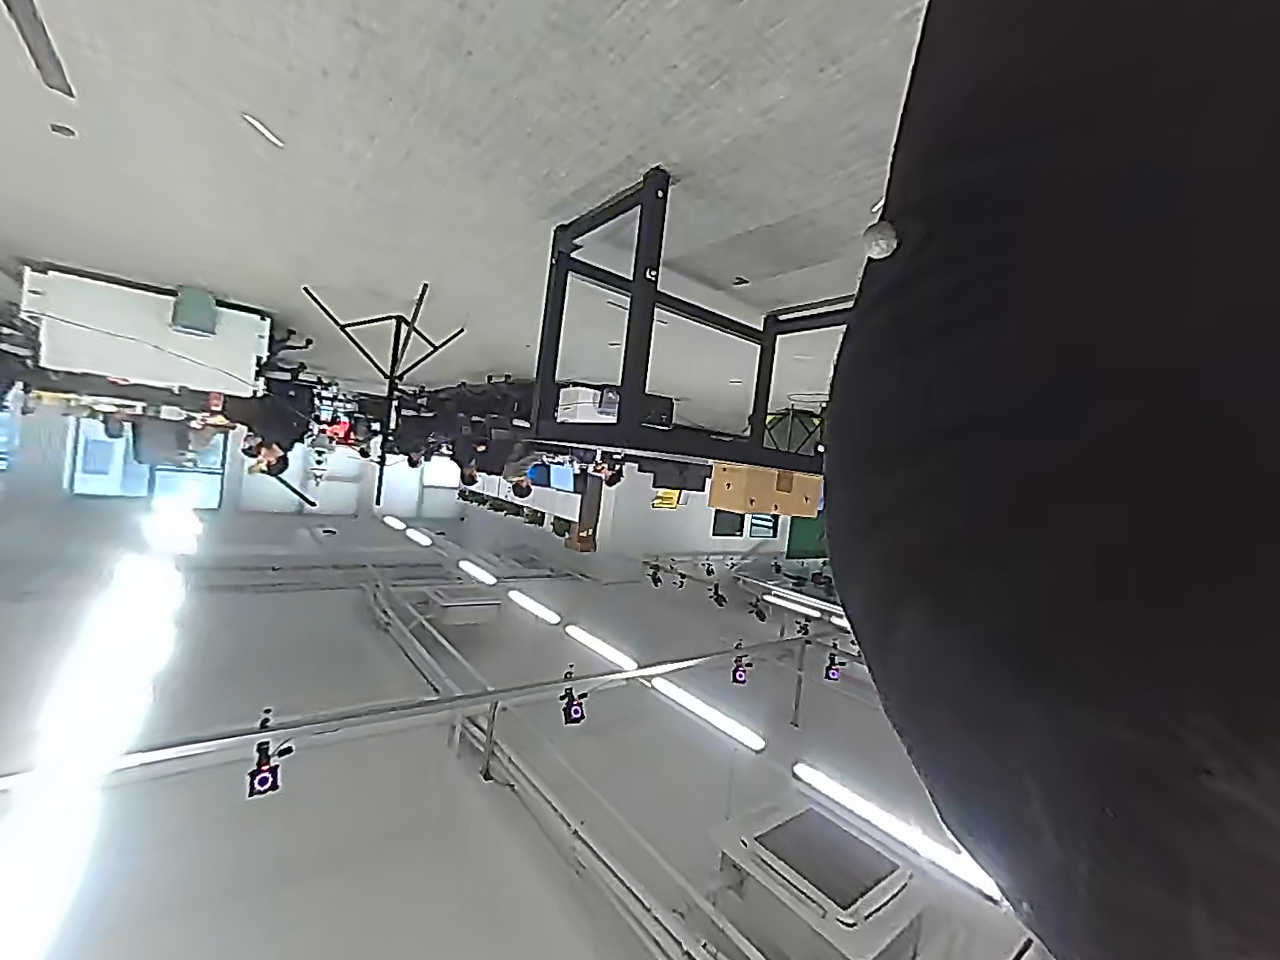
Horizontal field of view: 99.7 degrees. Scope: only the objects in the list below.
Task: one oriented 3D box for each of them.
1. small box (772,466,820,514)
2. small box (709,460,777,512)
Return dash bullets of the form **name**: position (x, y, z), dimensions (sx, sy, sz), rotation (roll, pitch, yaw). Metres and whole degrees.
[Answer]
- **small box**: position (0.590, 0.039, 2.142), dimensions (0.179, 0.176, 0.168), rotation (5, -178, -36)
- **small box**: position (0.376, 0.020, 1.974), dimensions (0.179, 0.176, 0.168), rotation (5, -177, -40)
